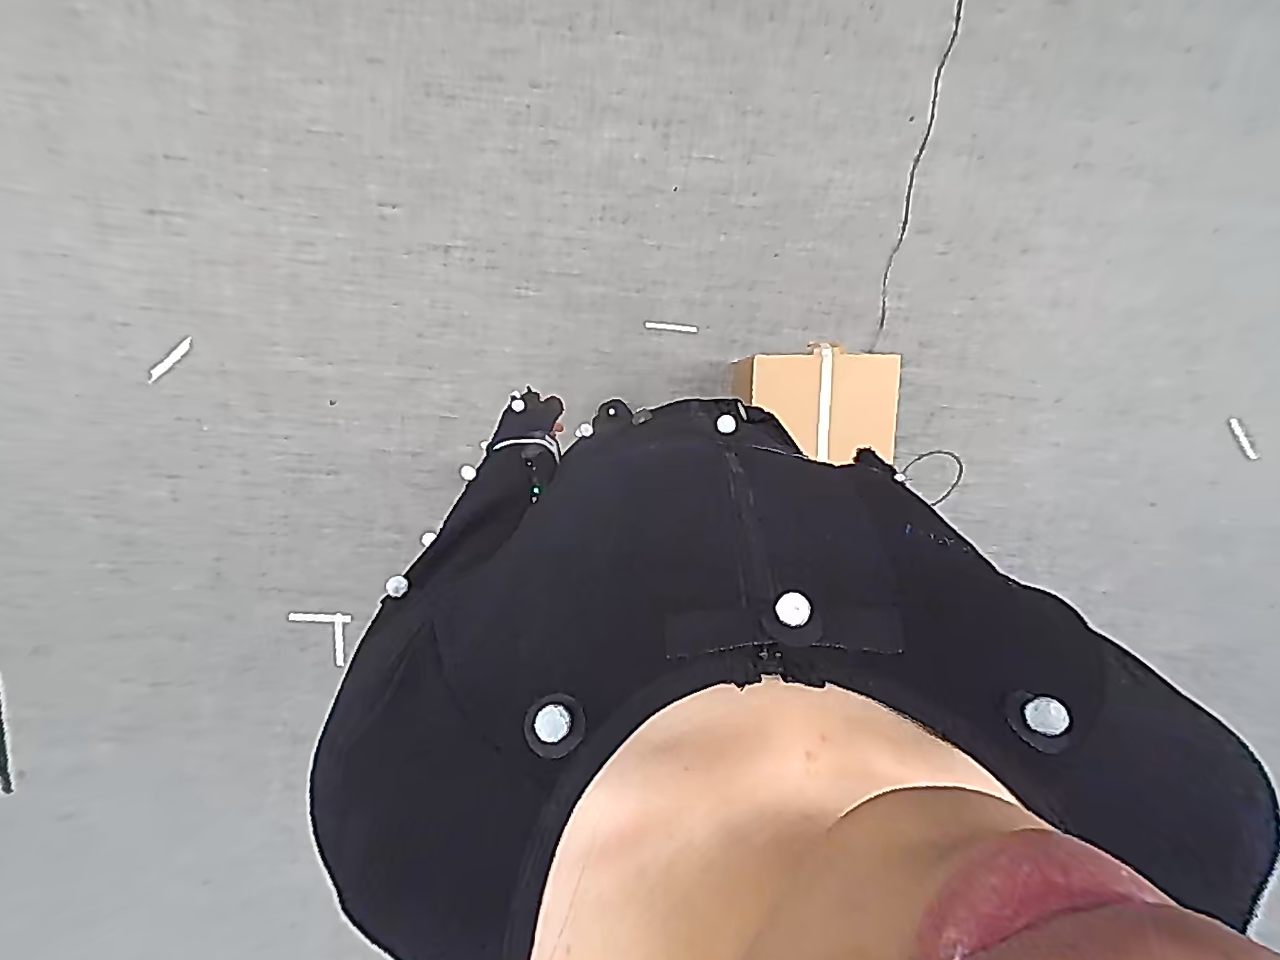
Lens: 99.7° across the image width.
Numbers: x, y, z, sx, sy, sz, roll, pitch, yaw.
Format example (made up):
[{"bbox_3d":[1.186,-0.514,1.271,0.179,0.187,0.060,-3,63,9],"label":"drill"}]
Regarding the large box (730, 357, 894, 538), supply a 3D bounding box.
[{"bbox_3d":[0.402,-0.092,1.347,0.320,0.320,0.408,0,100,1],"label":"large box"}]
